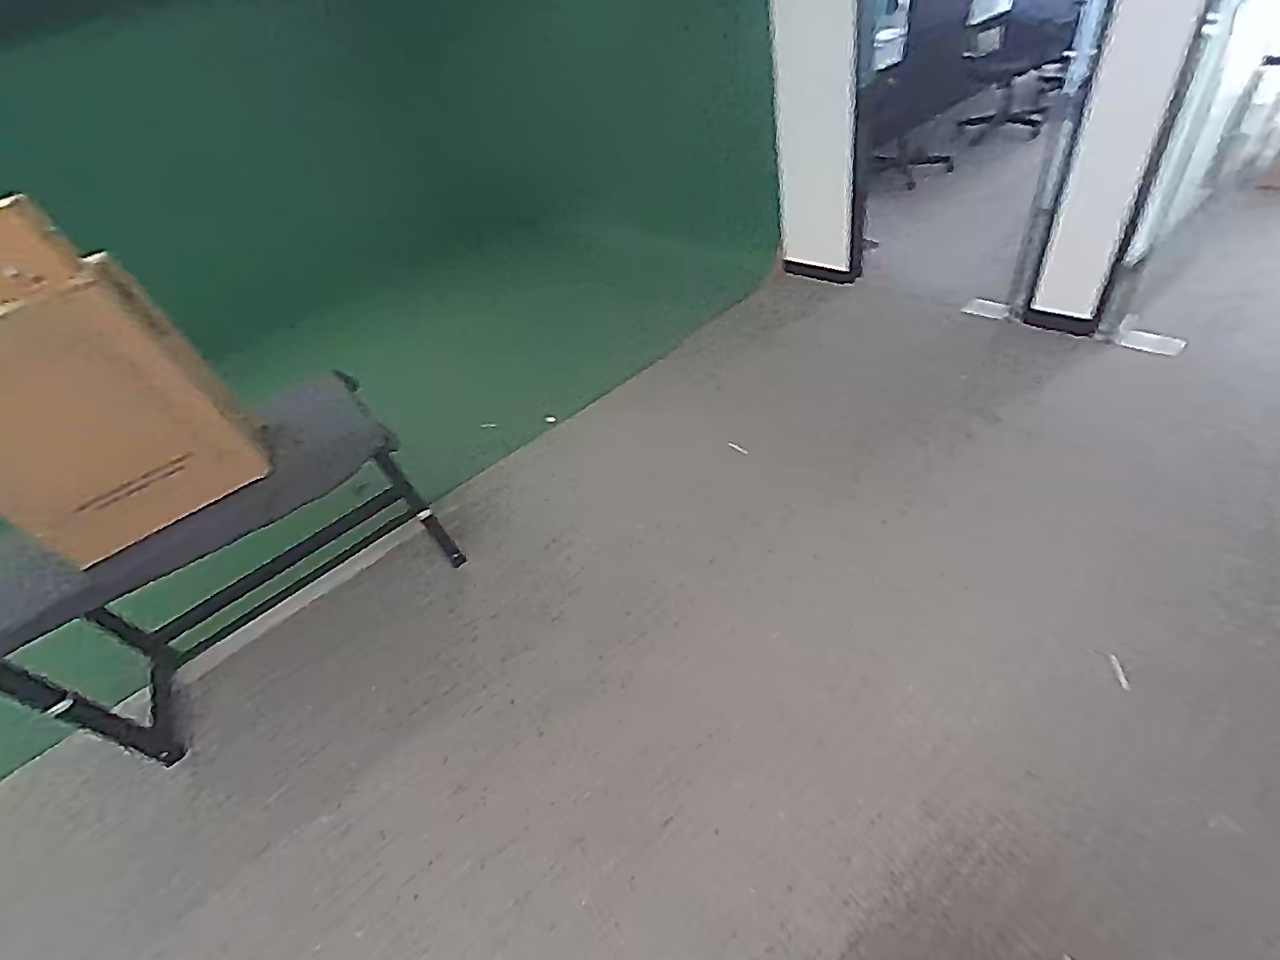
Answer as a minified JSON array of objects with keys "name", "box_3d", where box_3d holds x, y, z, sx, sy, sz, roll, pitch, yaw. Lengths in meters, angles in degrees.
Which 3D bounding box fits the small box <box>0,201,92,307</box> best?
[{"name":"small box","box_3d":[-1.456,-0.531,1.272,0.168,0.176,0.179,-32,46,-17]}]
